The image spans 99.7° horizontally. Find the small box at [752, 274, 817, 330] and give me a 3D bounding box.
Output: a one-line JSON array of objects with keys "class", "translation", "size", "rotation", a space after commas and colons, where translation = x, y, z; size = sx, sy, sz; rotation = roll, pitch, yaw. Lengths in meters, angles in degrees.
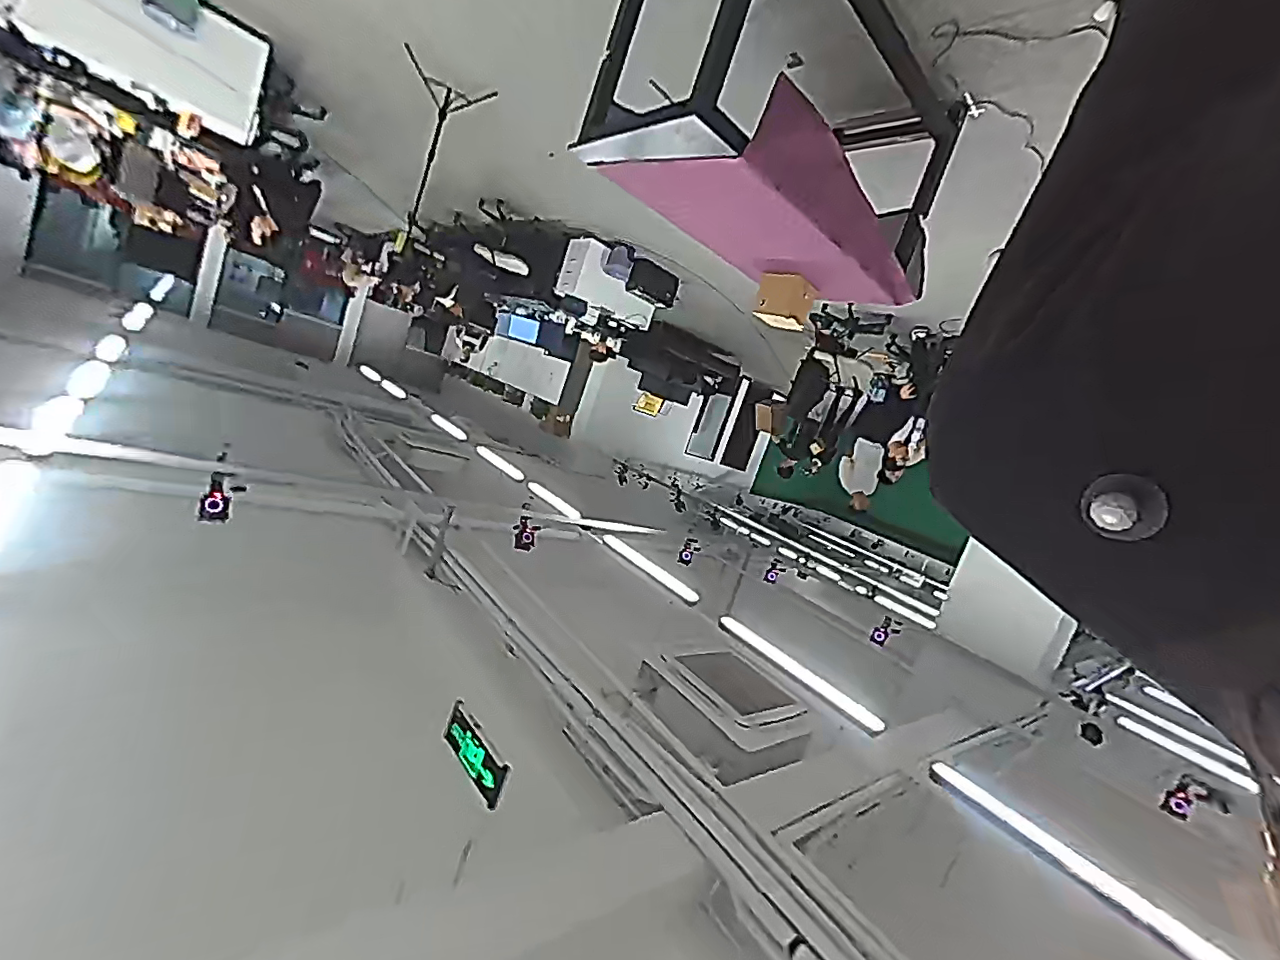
[{"class": "small box", "translation": [0.602, -0.745, 2.248], "size": [0.168, 0.176, 0.179], "rotation": [12, -170, -44]}]
